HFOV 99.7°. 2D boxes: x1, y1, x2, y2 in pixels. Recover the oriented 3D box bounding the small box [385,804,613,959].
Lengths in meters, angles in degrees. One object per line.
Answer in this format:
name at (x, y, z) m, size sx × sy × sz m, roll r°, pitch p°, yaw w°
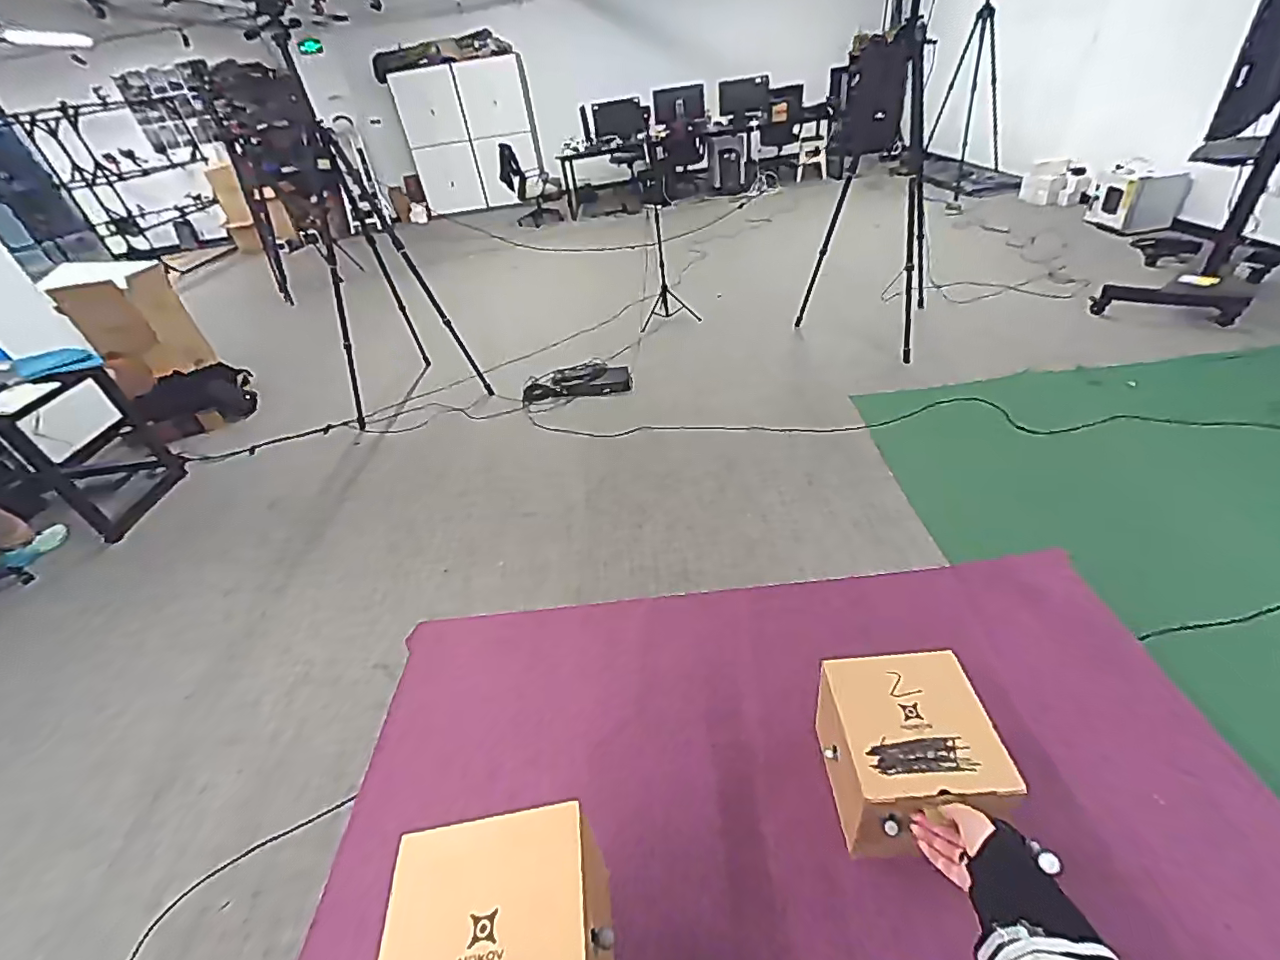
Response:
small box at (-0.117, 0.434, 0.489) m, size 0.168 × 0.176 × 0.179 m, roll -10°, pitch 38°, yaw -2°
